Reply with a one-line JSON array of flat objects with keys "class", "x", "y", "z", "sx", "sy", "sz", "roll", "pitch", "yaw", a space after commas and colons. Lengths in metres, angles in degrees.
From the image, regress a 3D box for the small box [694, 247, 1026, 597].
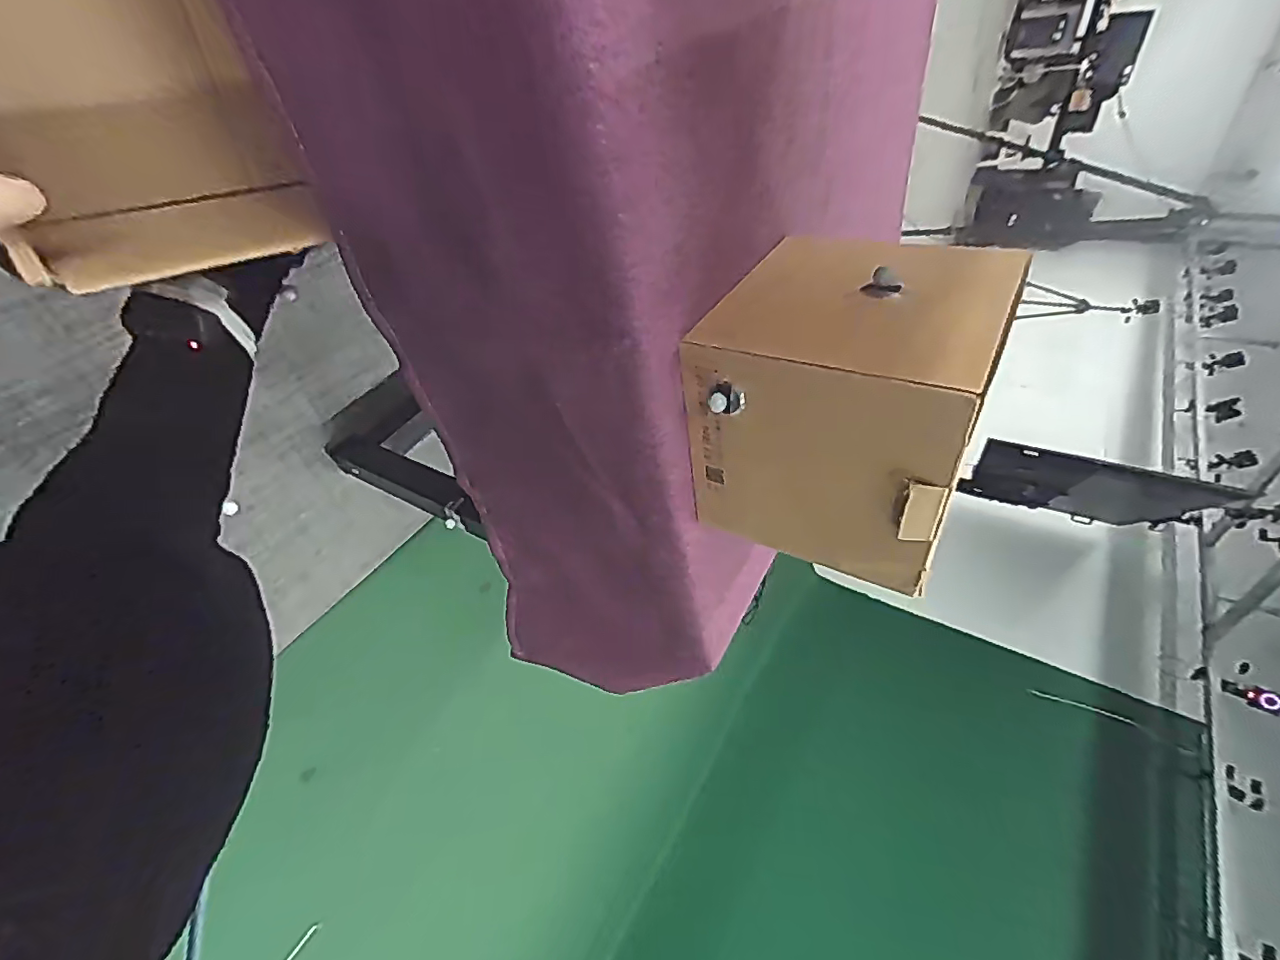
[{"class": "small box", "x": 0.147, "y": -0.054, "z": 0.394, "sx": 0.179, "sy": 0.176, "sz": 0.168, "roll": -50, "pitch": 145, "yaw": -34}]
